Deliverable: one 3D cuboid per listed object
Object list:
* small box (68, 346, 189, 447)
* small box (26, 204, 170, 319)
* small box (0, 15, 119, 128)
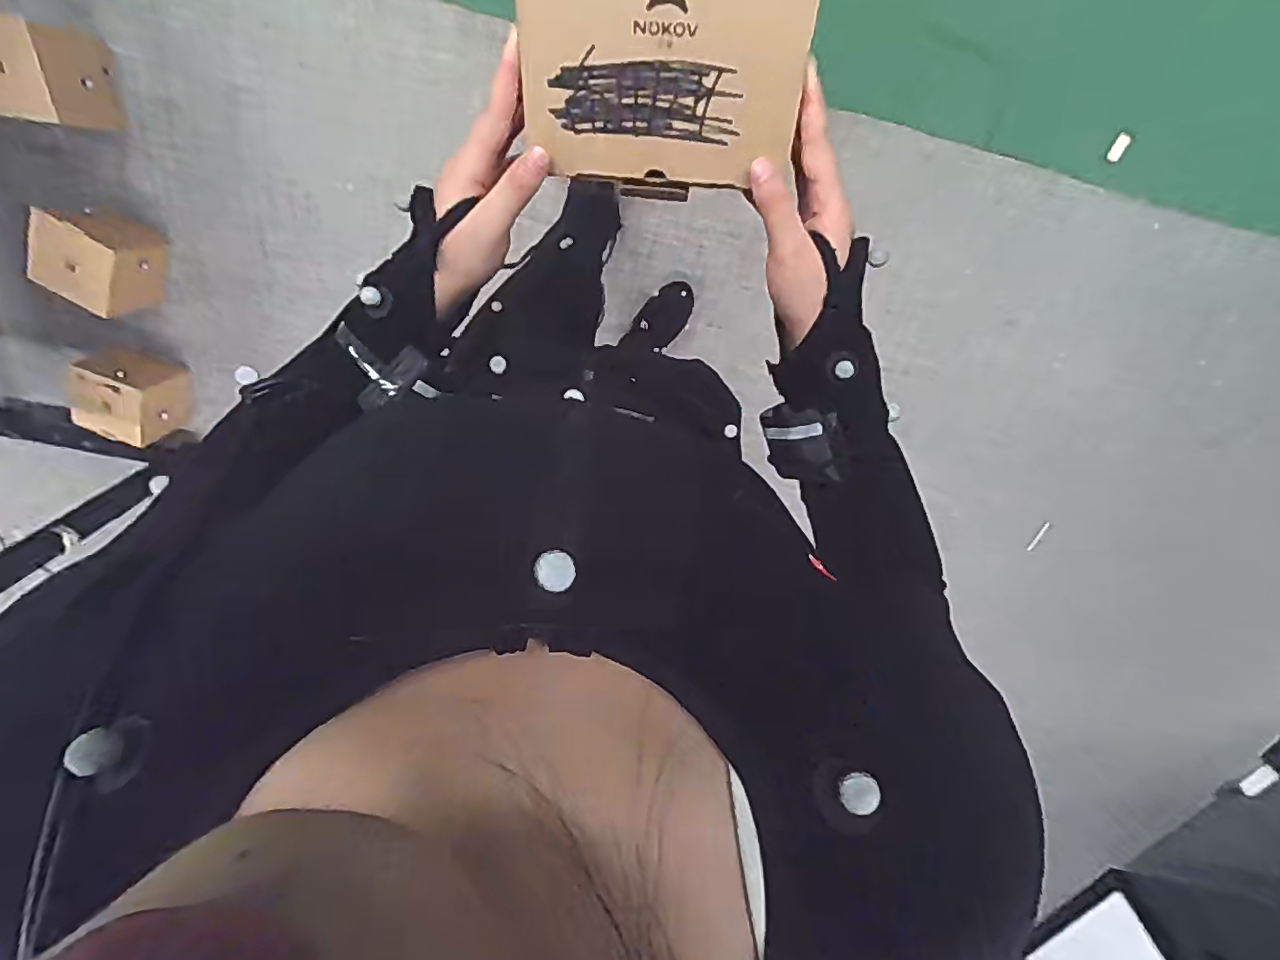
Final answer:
[{"bbox_3d":[-1.329,-0.222,1.418,0.168,0.176,0.179,22,119,-11],"label":"small box"},{"bbox_3d":[-1.239,-0.510,1.247,0.168,0.176,0.179,30,118,-14],"label":"small box"},{"bbox_3d":[-1.198,-0.808,1.070,0.179,0.176,0.168,7,120,-3],"label":"small box"}]
